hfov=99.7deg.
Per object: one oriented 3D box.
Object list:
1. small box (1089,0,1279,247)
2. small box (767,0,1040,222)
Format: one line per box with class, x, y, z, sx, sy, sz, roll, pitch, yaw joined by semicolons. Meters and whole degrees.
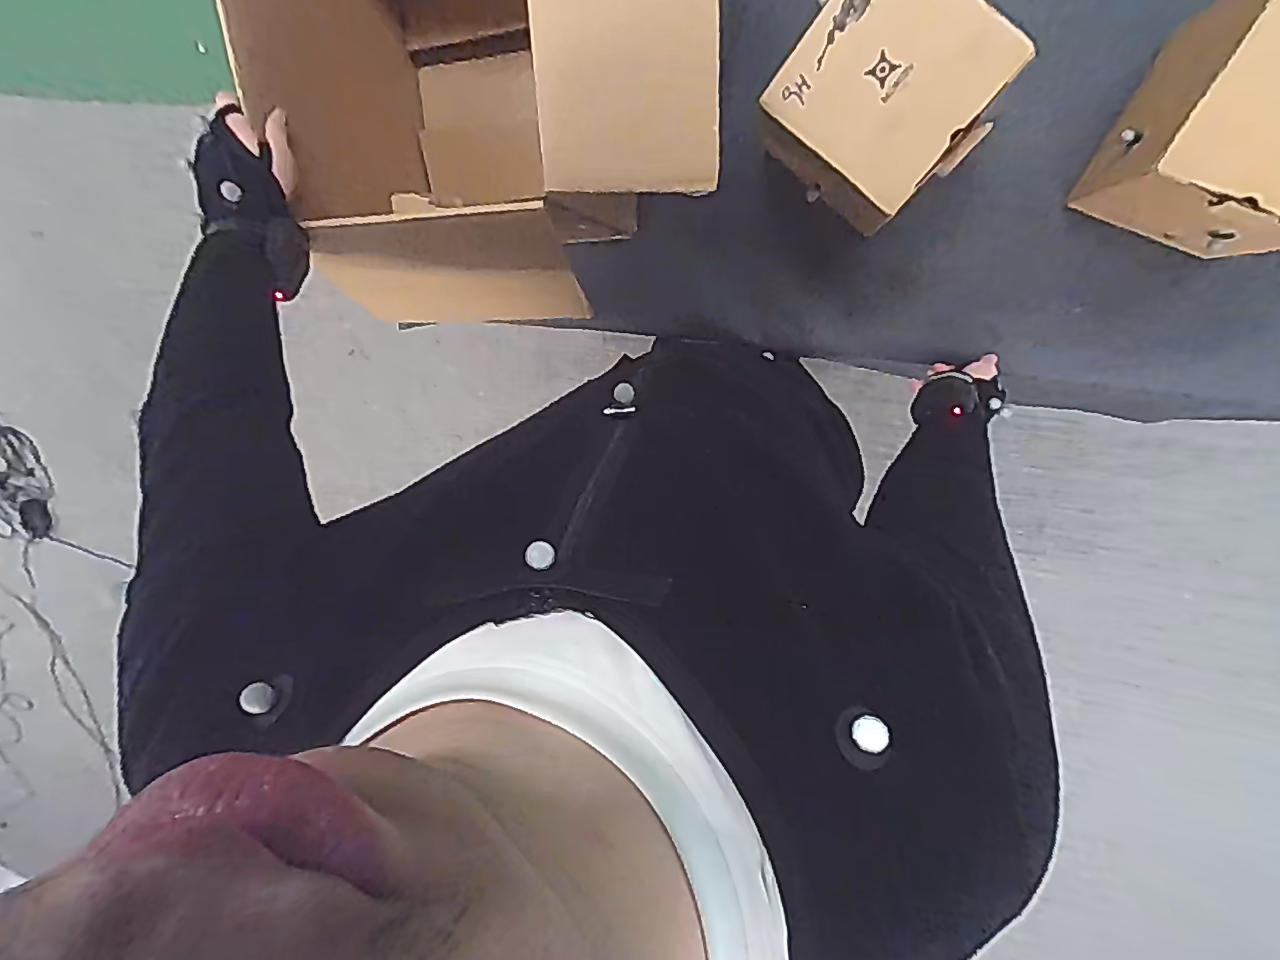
small box;0.574;-0.335;0.502;0.168;0.176;0.179;25;112;6
small box;0.256;-0.399;0.571;0.179;0.176;0.168;41;113;-1
